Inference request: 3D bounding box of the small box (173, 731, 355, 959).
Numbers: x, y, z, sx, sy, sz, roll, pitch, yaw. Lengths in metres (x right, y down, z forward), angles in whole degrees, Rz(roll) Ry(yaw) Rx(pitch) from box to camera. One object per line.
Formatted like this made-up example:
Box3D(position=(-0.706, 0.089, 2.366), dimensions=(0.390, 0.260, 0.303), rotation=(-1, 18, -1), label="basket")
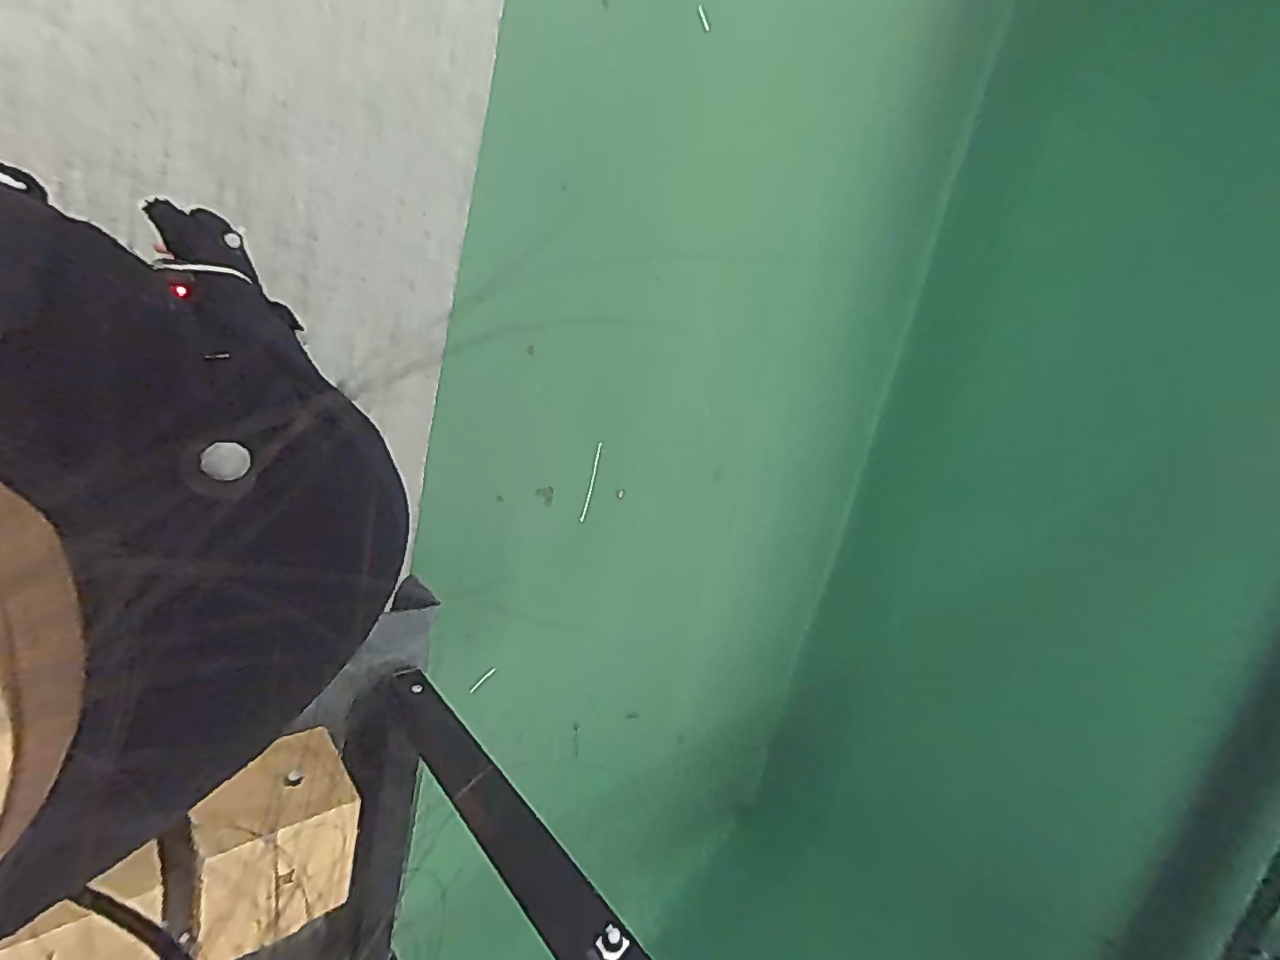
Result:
Box3D(position=(-0.504, 0.466, 0.720), dimensions=(0.168, 0.176, 0.179), rotation=(0, 108, -46), label="small box")
